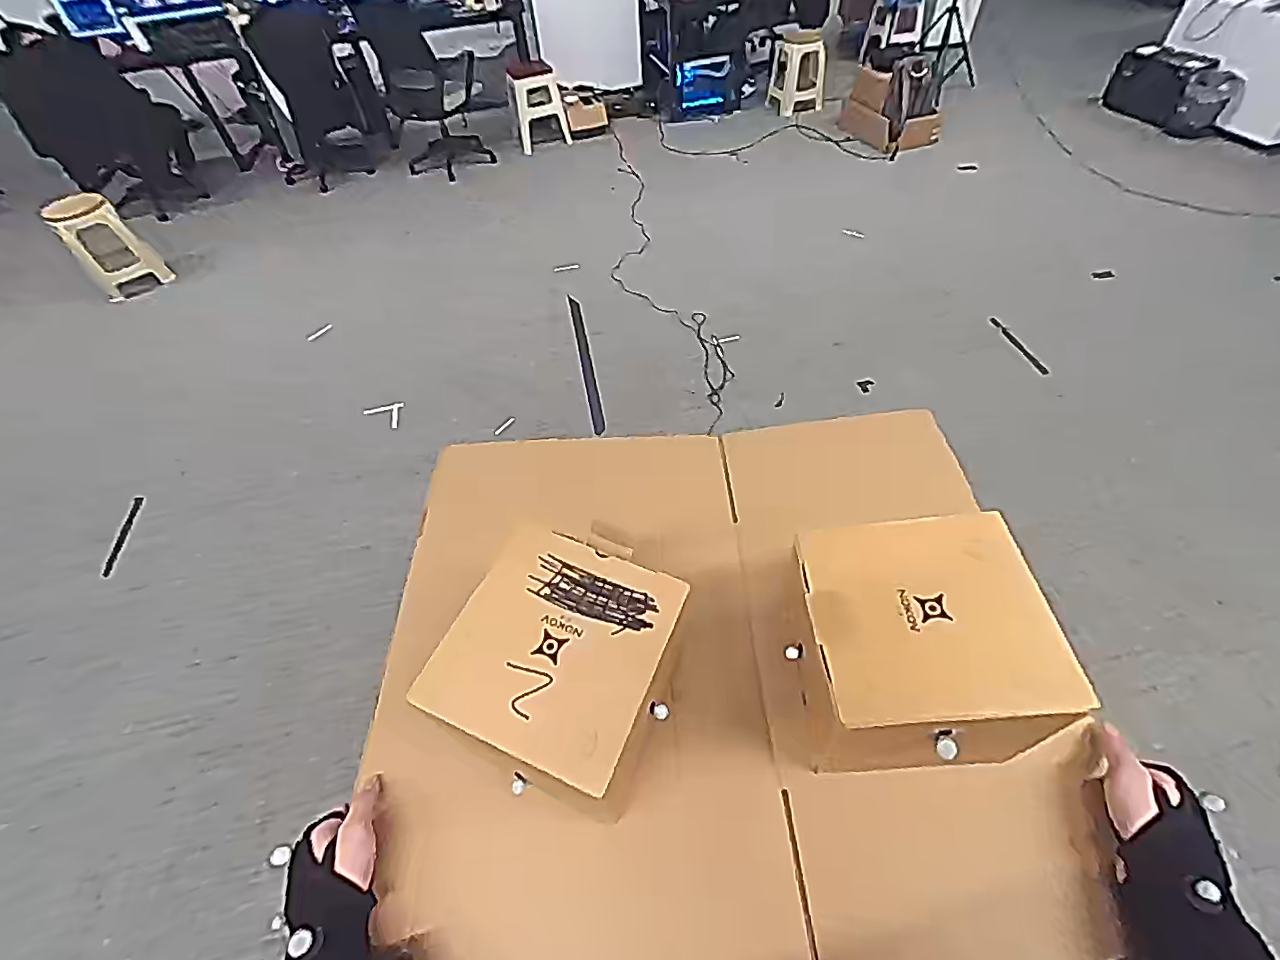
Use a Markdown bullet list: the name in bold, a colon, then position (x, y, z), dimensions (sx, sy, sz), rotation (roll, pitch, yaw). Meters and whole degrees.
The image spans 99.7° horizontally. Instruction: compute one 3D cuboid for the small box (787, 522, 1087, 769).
- **small box**: position (0.242, 0.159, 0.501), dimensions (0.179, 0.176, 0.168), rotation (-7, 51, 6)
